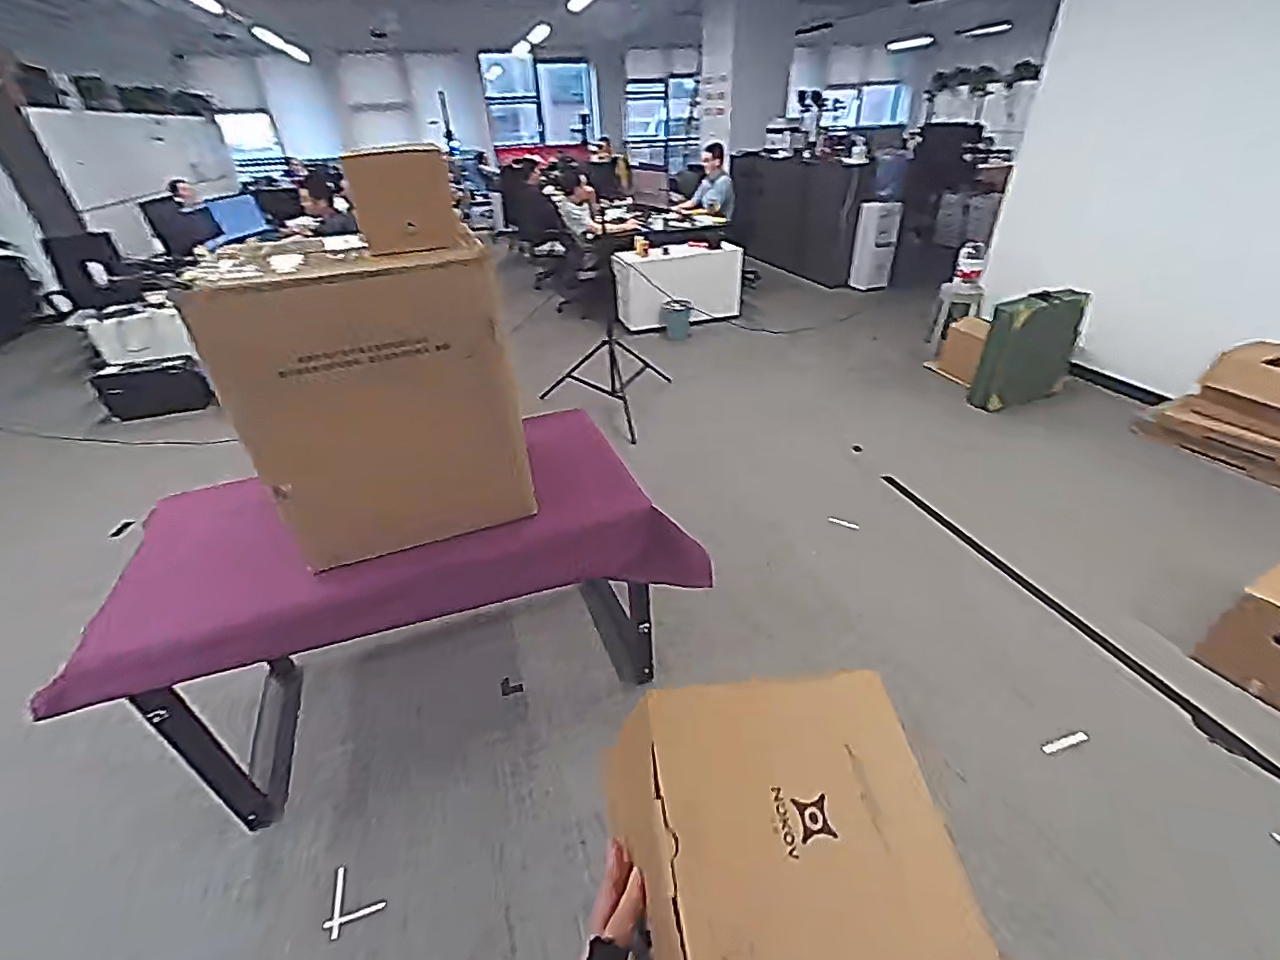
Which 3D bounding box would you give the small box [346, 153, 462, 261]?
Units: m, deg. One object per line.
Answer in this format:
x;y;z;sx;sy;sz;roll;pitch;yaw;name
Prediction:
-0.462;-0.547;1.080;0.179;0.176;0.168;-14;36;-16;small box
